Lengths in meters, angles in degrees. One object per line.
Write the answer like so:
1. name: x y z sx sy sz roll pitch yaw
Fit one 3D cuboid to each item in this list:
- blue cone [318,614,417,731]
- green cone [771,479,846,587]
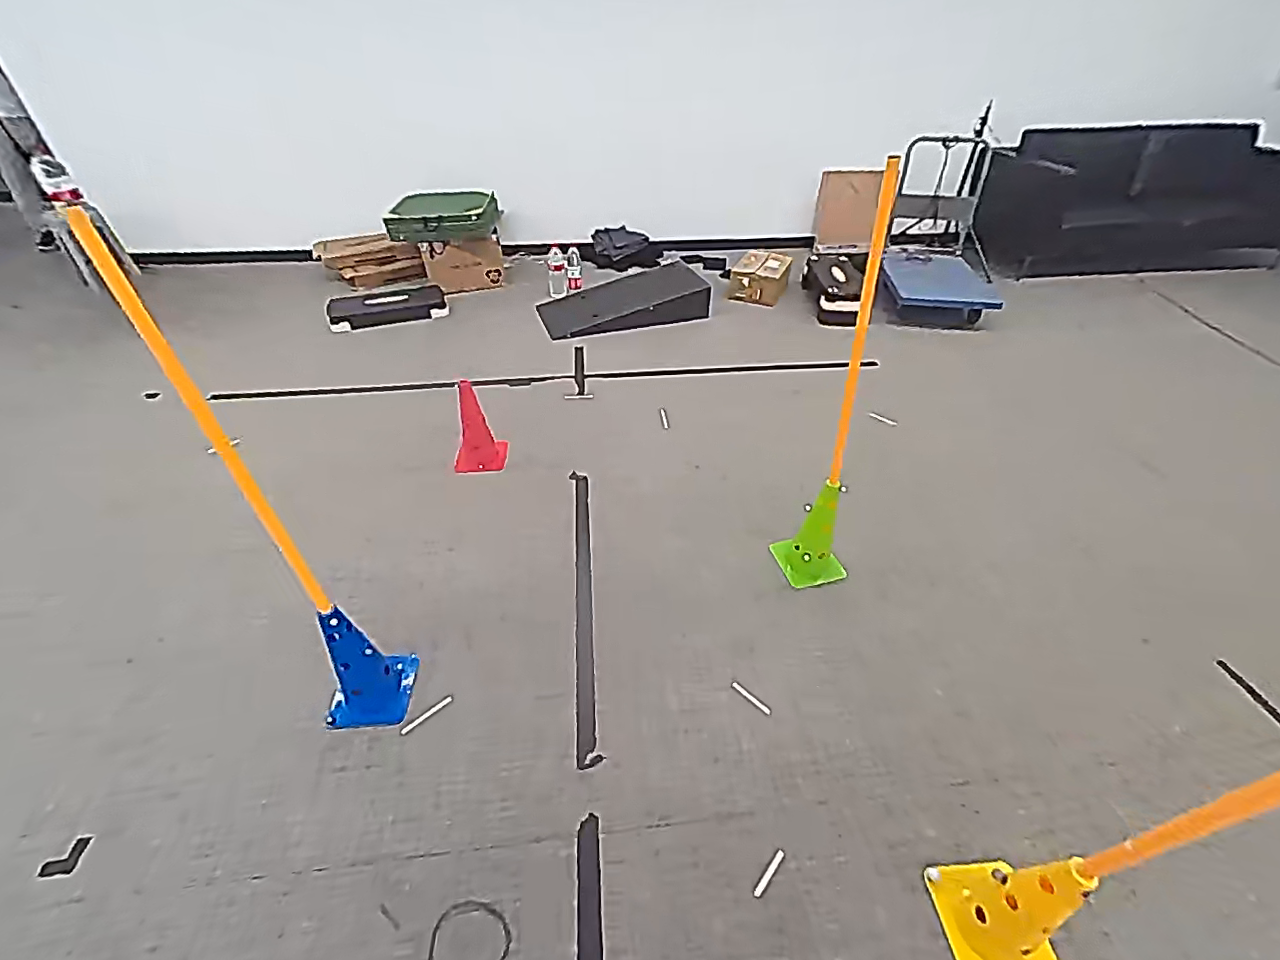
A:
1. blue cone: -0.710 0.452 1.349 0.193 0.380 0.192 -2 41 -2
2. green cone: 0.568 0.139 1.711 0.200 0.368 0.202 -11 43 -13
